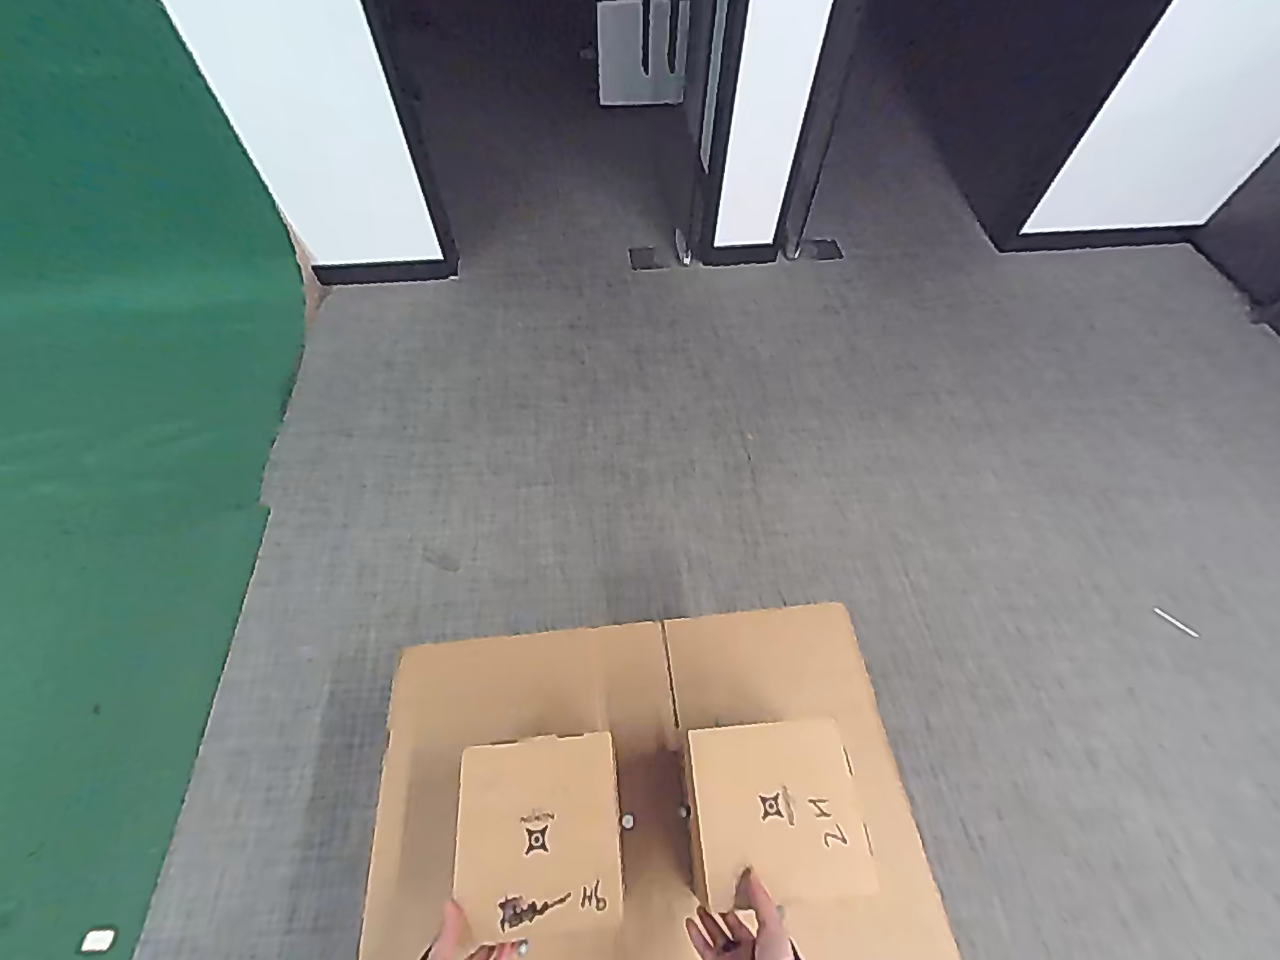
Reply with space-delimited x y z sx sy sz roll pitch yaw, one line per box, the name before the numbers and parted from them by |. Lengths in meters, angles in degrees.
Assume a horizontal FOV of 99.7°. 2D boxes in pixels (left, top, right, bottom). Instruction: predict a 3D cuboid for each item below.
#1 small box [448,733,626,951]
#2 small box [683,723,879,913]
small box | -0.105 0.406 0.617 0.168 0.176 0.179 -6 55 -2
small box | 0.144 0.392 0.632 0.179 0.176 0.168 -3 56 -2
